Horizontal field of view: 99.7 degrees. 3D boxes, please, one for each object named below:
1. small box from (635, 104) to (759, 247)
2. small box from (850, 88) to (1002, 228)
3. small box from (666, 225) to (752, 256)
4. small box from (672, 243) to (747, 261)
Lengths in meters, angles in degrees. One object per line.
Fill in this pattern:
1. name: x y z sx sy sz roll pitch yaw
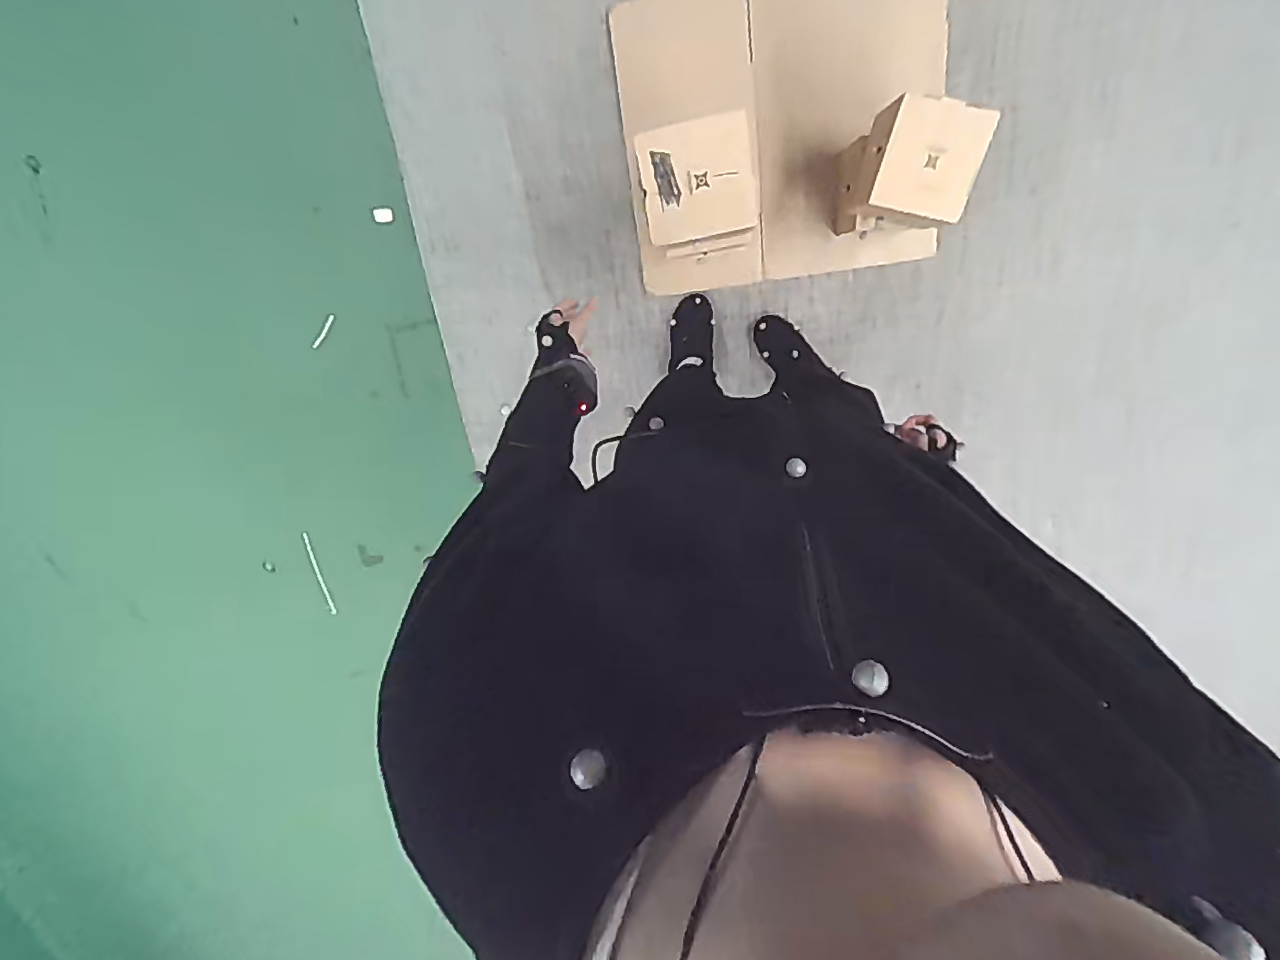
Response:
1. small box: 0.099 -0.495 0.906 0.179 0.176 0.168 -8 110 9
2. small box: 0.511 -0.581 1.000 0.168 0.176 0.179 14 112 0
3. small box: 0.127 -0.544 1.061 0.168 0.176 0.179 -6 110 8
4. small box: 0.148 -0.598 1.215 0.168 0.176 0.179 -7 109 9
